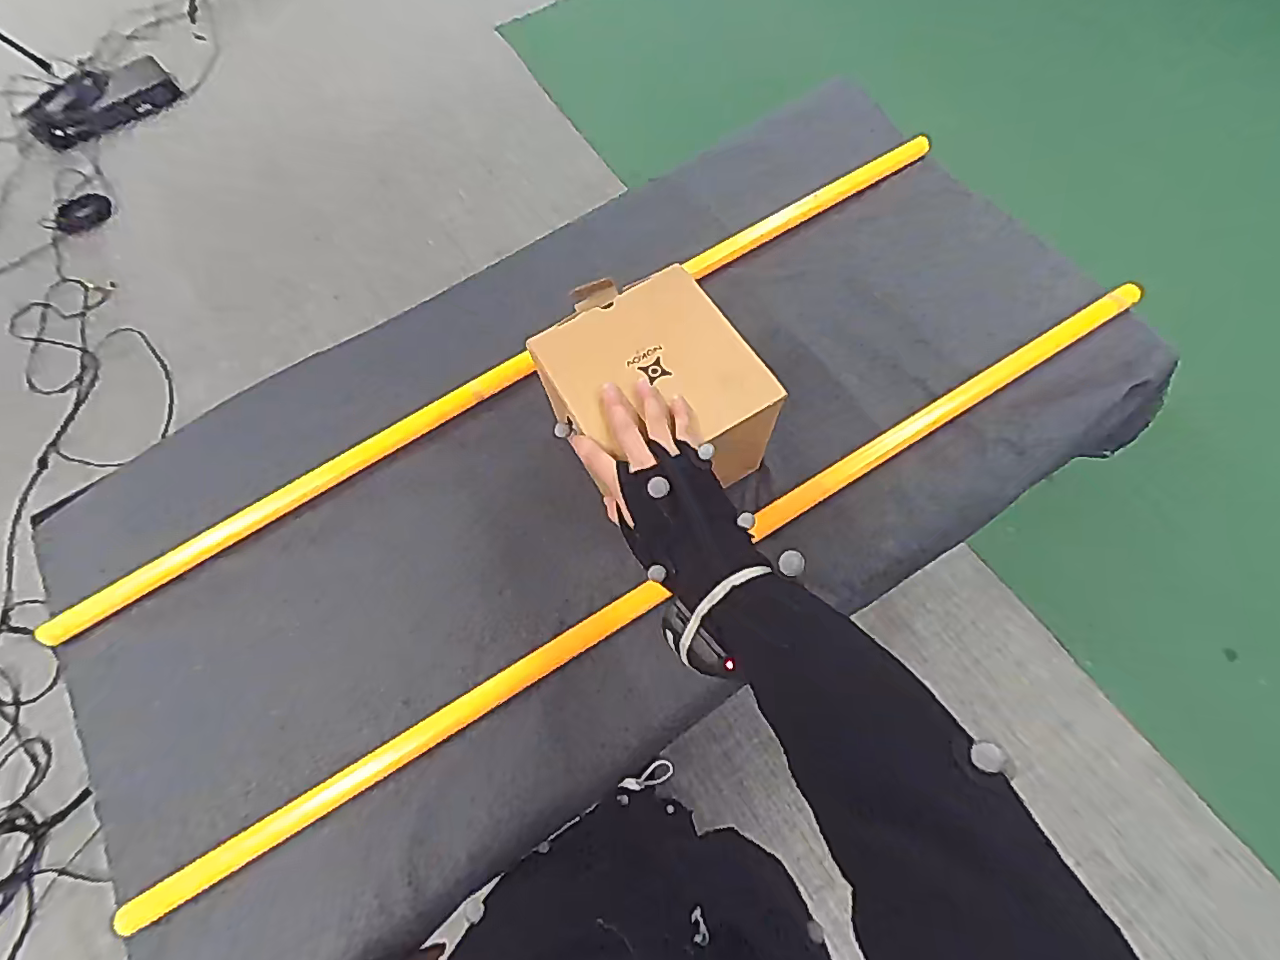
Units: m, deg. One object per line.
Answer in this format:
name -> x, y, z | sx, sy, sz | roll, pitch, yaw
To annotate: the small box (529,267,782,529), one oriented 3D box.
small box -> 0.016, -0.067, 0.548 | 0.168, 0.176, 0.179 | -31, 68, -8
